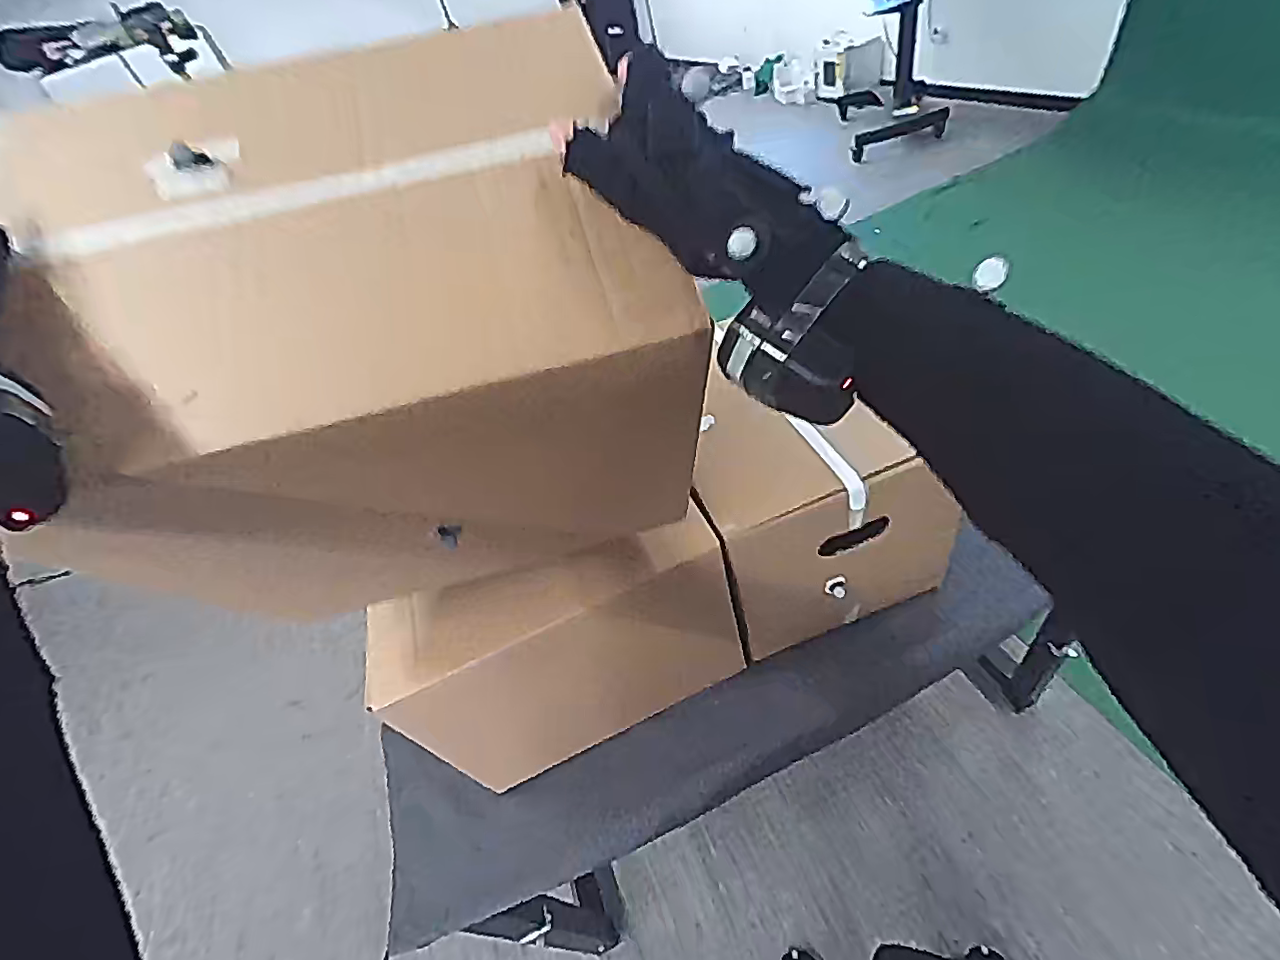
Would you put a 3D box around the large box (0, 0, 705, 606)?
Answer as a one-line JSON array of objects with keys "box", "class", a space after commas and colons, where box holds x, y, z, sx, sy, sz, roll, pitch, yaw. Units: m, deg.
[{"box": [-0.187, -0.111, 0.467, 0.408, 0.320, 0.320, -15, 68, -3], "class": "large box"}]
